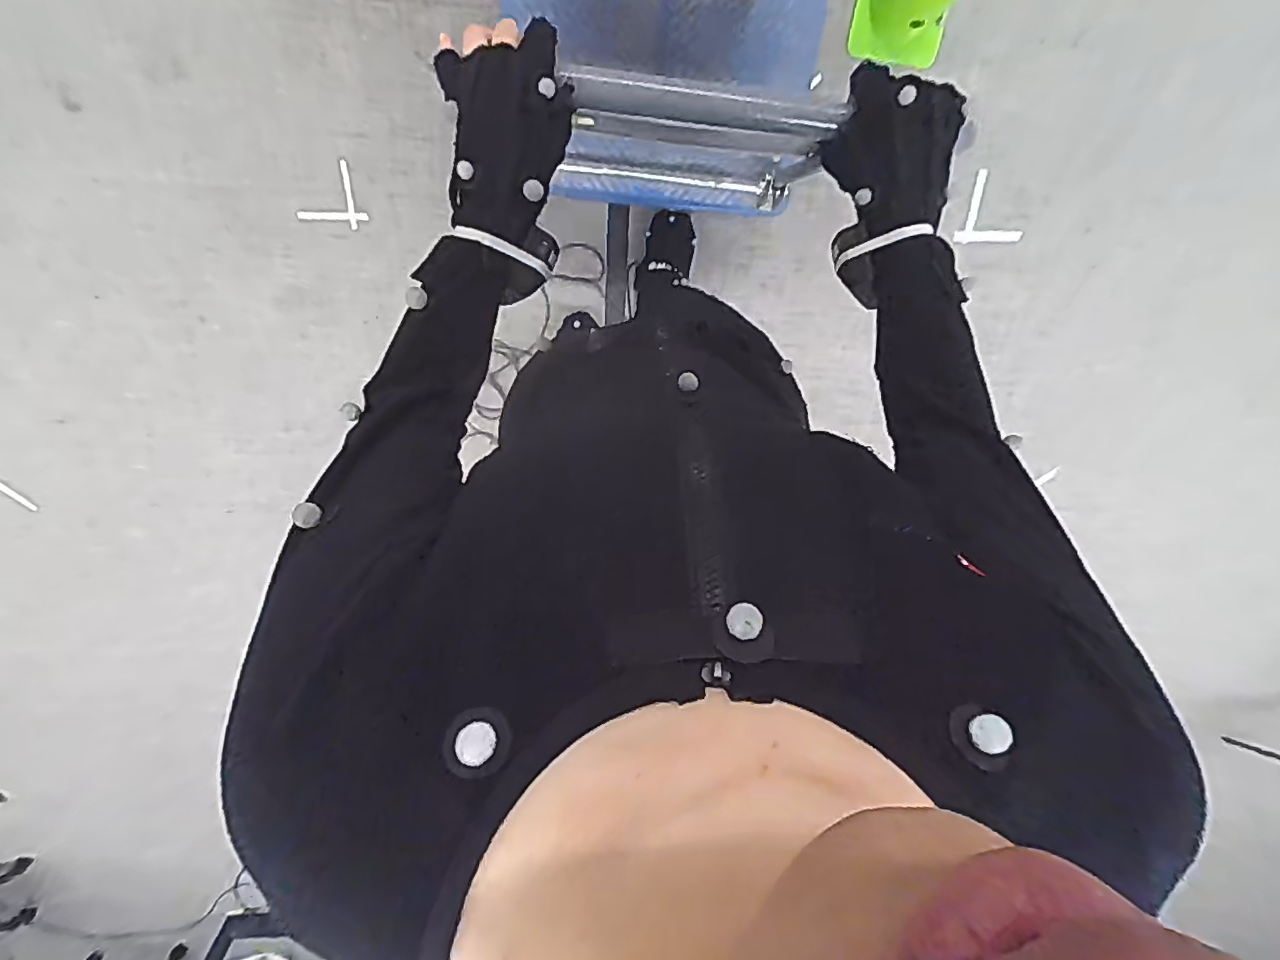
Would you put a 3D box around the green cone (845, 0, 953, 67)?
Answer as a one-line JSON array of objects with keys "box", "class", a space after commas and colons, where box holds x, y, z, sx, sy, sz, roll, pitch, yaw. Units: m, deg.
[{"box": [0.556, -0.919, 0.973, 0.202, 0.368, 0.200, 3, 116, -8], "class": "green cone"}]
